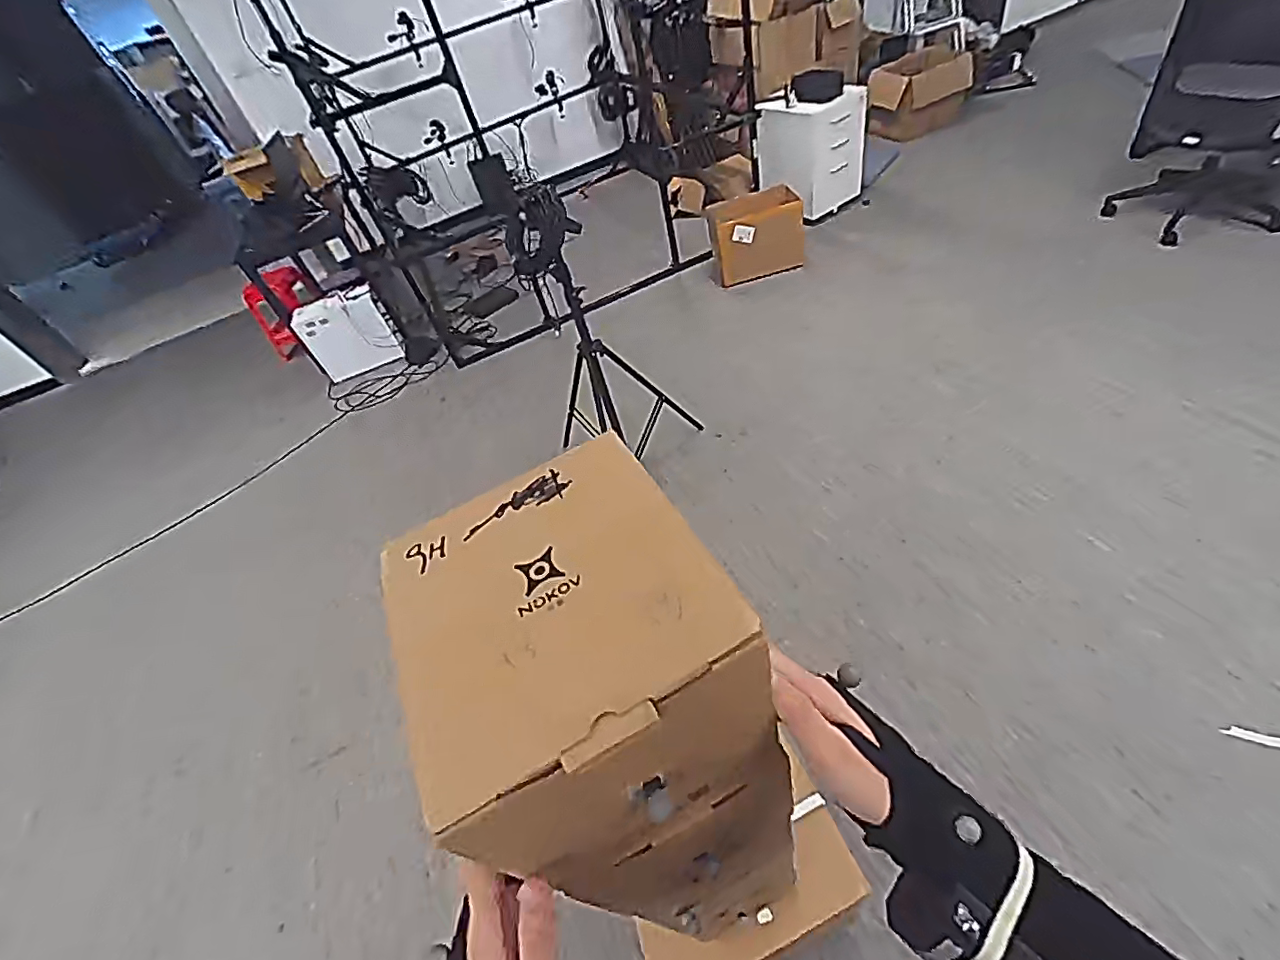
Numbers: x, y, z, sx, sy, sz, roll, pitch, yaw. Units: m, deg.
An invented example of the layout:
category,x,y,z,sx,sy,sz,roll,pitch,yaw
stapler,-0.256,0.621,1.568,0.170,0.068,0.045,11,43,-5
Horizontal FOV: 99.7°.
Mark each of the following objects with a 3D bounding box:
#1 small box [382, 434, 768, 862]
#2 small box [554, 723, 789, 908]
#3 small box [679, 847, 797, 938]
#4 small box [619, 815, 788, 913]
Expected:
category,x,y,z,sx,sy,sz,roll,pitch,yaw
small box,-0.033,0.110,0.345,0.168,0.176,0.179,-28,47,-9
small box,0.008,0.219,0.459,0.168,0.176,0.179,-27,46,-7
small box,0.118,0.544,0.814,0.168,0.176,0.179,-27,47,-8
small box,0.045,0.327,0.579,0.168,0.176,0.179,-25,45,-6
